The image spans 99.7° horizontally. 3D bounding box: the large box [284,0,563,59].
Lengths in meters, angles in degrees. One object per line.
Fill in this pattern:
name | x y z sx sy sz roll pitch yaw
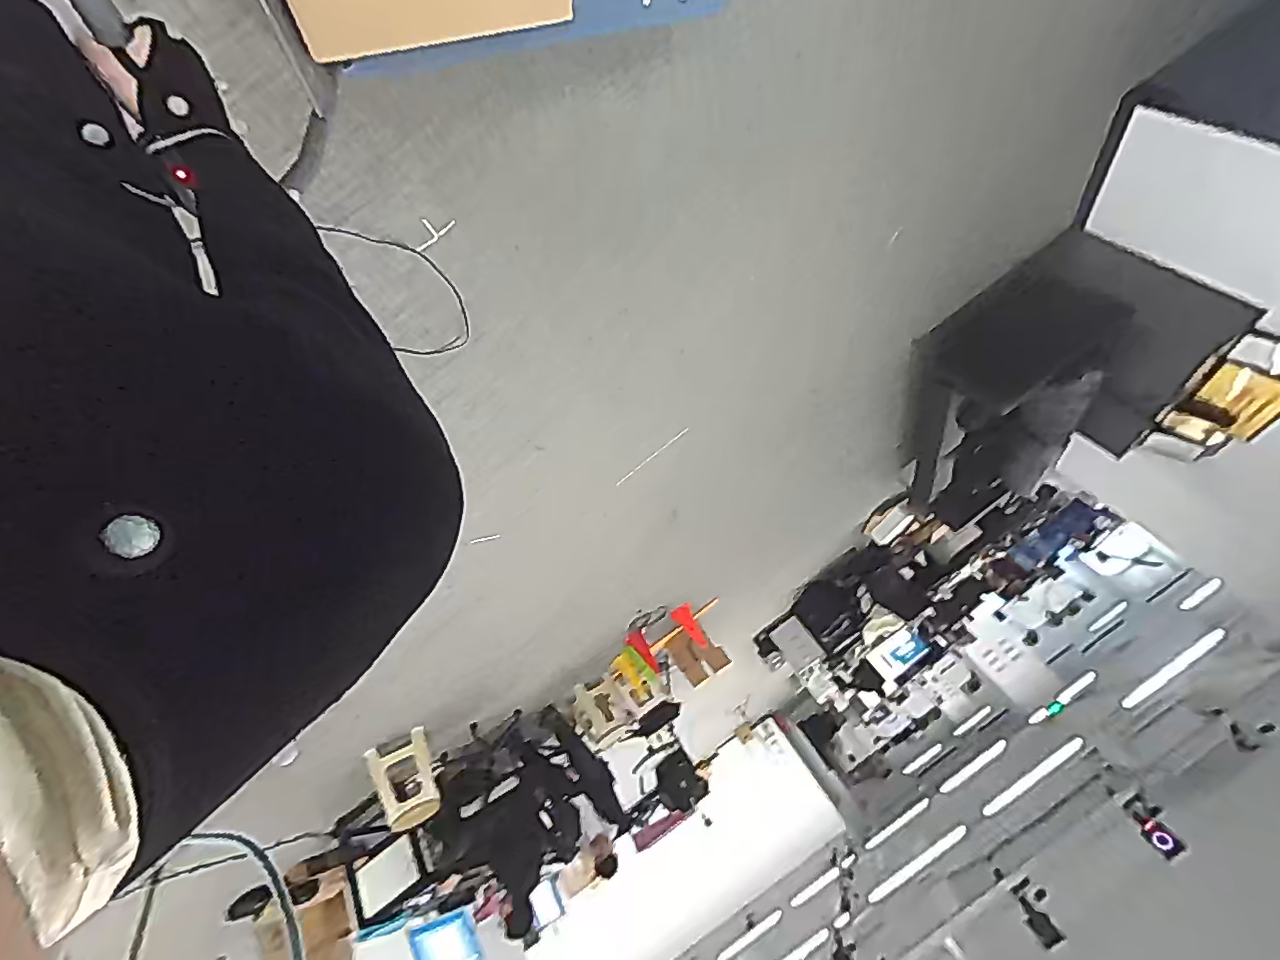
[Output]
large box | -0.369 -0.892 0.803 0.408 0.320 0.320 -18 145 -9
